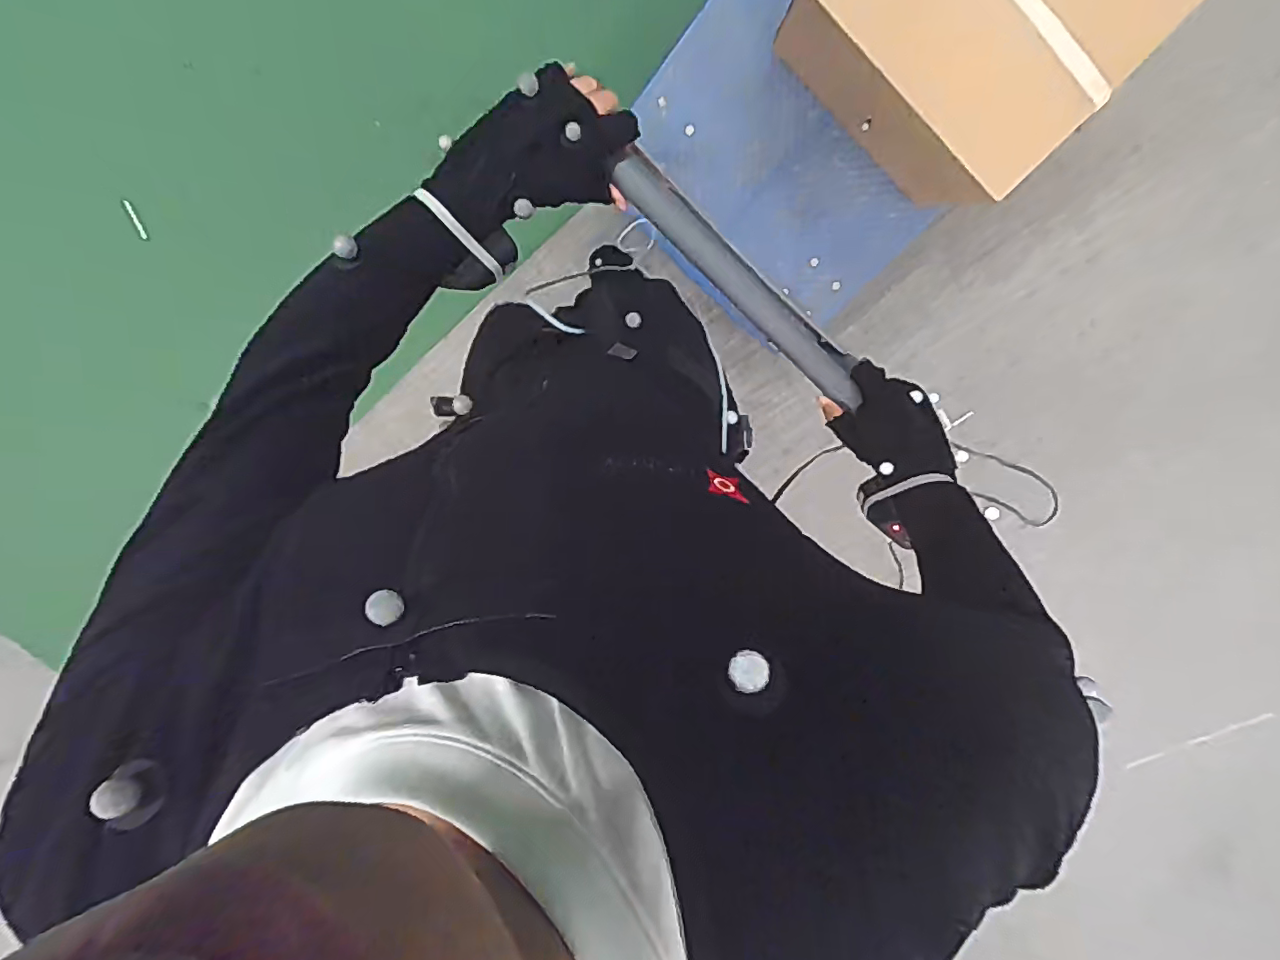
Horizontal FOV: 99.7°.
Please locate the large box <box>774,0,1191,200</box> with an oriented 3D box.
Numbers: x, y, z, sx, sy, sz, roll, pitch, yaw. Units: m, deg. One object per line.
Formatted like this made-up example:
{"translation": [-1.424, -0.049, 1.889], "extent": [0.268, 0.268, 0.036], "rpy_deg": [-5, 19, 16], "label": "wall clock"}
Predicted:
{"translation": [0.465, -0.689, 0.813], "extent": [0.408, 0.320, 0.320], "rpy_deg": [39, 113, -12], "label": "large box"}
